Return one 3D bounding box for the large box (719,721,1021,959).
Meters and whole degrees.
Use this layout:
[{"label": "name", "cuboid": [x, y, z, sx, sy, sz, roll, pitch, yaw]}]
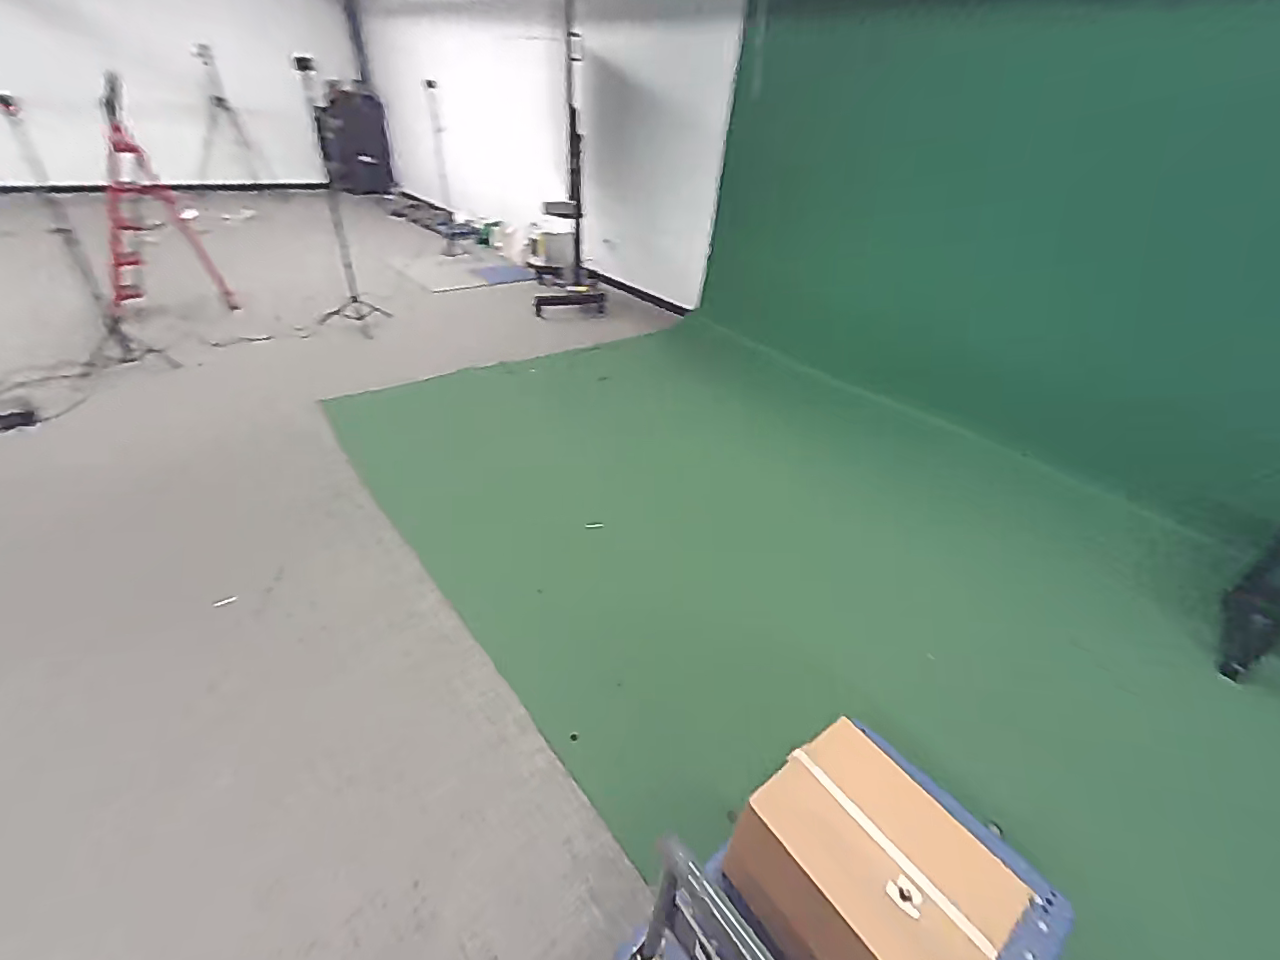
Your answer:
[{"label": "large box", "cuboid": [0.425, 0.794, 1.084, 0.320, 0.320, 0.408, -20, 43, -32]}]
